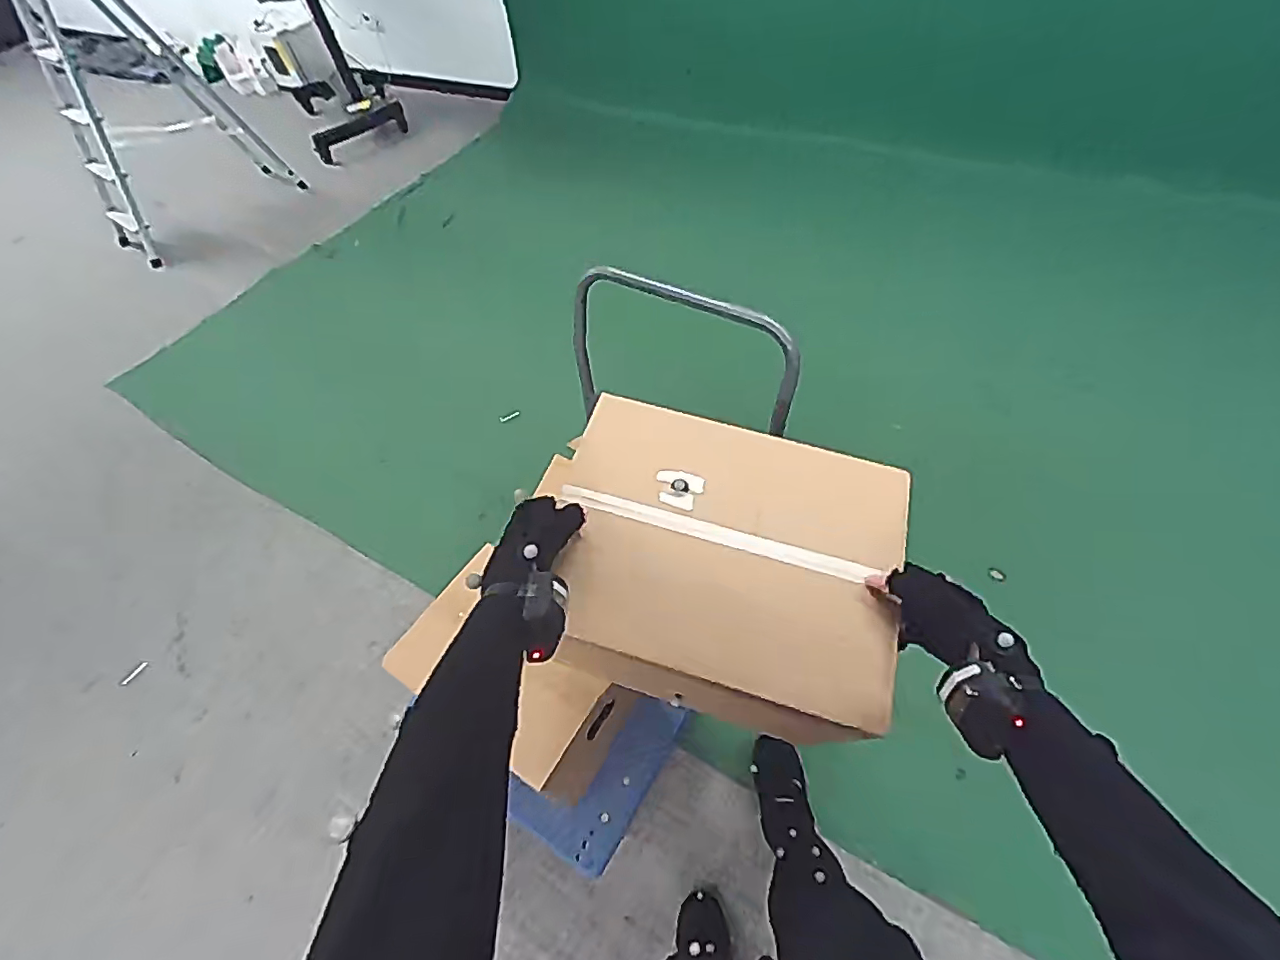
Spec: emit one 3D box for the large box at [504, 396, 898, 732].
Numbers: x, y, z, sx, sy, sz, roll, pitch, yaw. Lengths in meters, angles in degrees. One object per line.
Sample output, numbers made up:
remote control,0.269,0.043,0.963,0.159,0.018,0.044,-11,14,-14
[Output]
large box,0.087,0.133,0.754,0.408,0.320,0.320,15,63,8
